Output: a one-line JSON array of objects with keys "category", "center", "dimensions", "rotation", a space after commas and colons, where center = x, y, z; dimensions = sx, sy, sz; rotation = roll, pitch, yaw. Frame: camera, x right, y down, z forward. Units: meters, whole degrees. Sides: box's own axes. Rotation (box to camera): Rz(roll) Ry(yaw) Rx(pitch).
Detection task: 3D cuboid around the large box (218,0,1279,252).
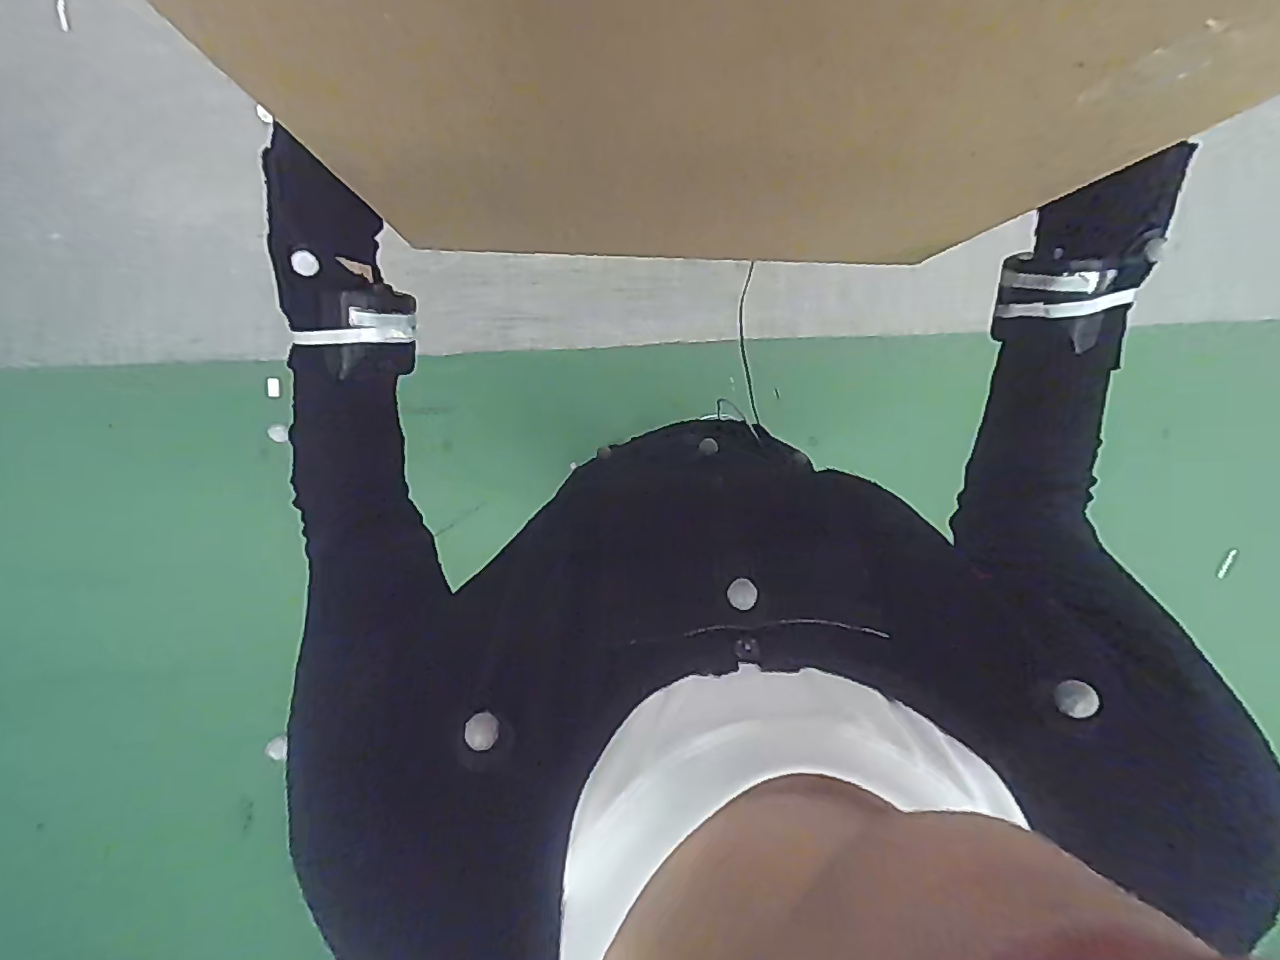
[{"category": "large box", "center": [0.045, -0.316, 0.261], "dimensions": [0.408, 0.320, 0.320], "rotation": [0, 97, -6]}]
